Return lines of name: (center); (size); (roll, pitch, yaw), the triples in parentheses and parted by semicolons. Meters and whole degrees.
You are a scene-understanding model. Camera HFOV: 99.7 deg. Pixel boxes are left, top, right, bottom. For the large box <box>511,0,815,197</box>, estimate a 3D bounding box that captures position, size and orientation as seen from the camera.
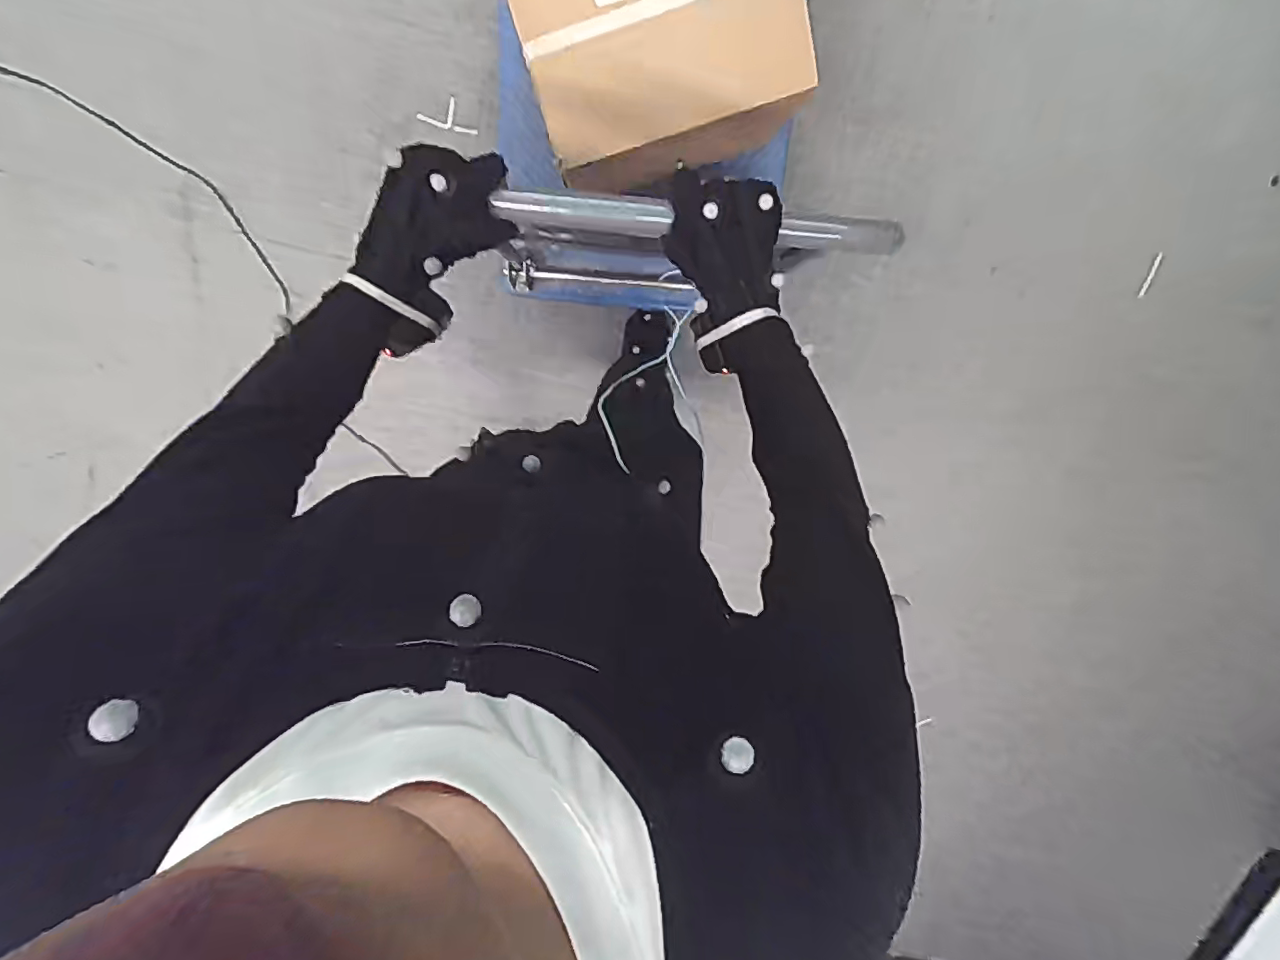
large box: (0.026, -0.720, 0.907); (0.408, 0.320, 0.320); (-16, 107, 4)
